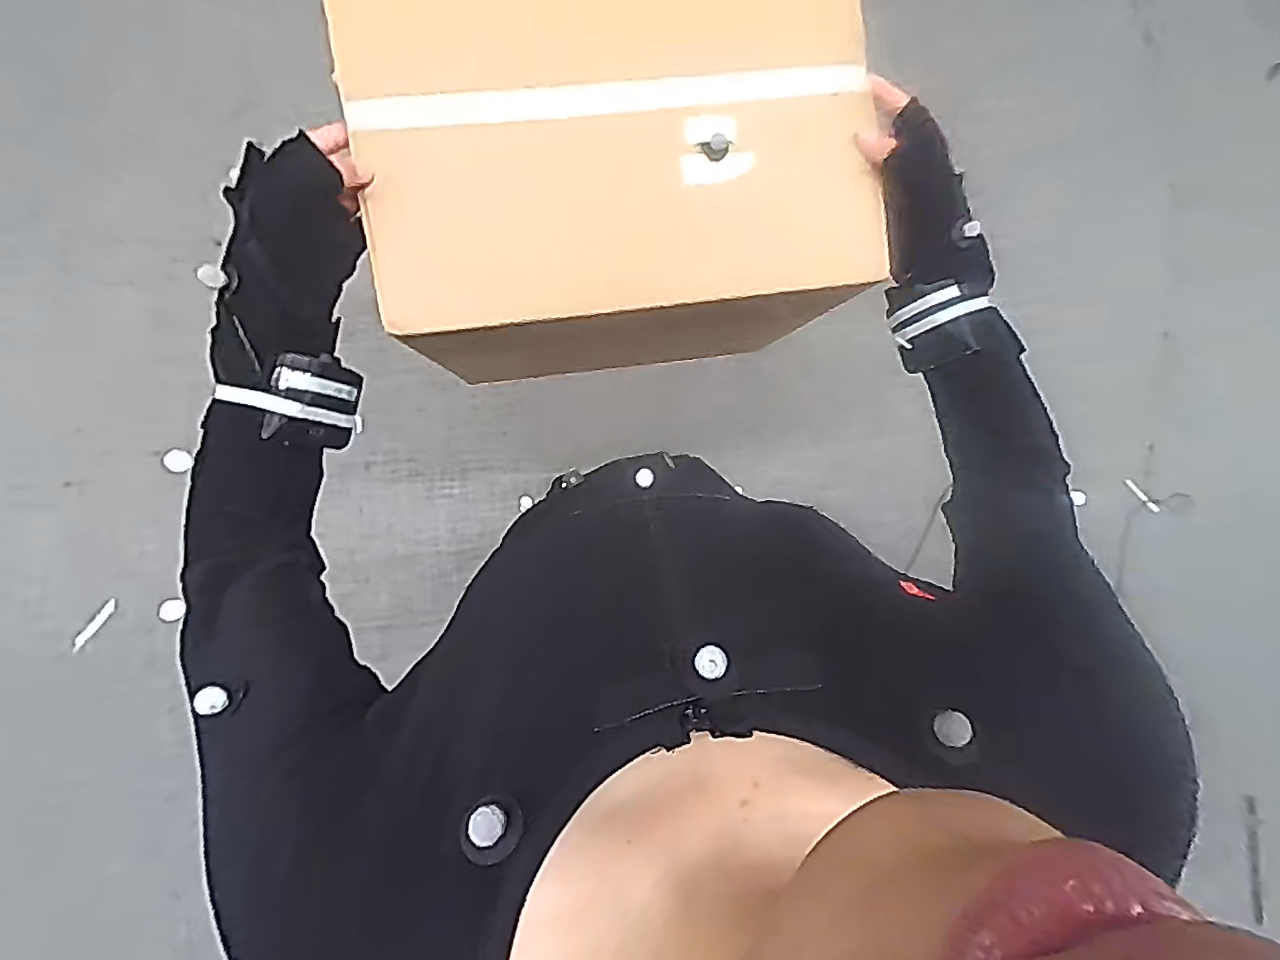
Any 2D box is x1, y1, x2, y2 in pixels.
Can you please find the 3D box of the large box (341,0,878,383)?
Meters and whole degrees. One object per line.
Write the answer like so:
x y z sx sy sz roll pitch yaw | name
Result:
-0.034 -0.303 0.576 0.408 0.320 0.320 -9 94 -7 | large box
